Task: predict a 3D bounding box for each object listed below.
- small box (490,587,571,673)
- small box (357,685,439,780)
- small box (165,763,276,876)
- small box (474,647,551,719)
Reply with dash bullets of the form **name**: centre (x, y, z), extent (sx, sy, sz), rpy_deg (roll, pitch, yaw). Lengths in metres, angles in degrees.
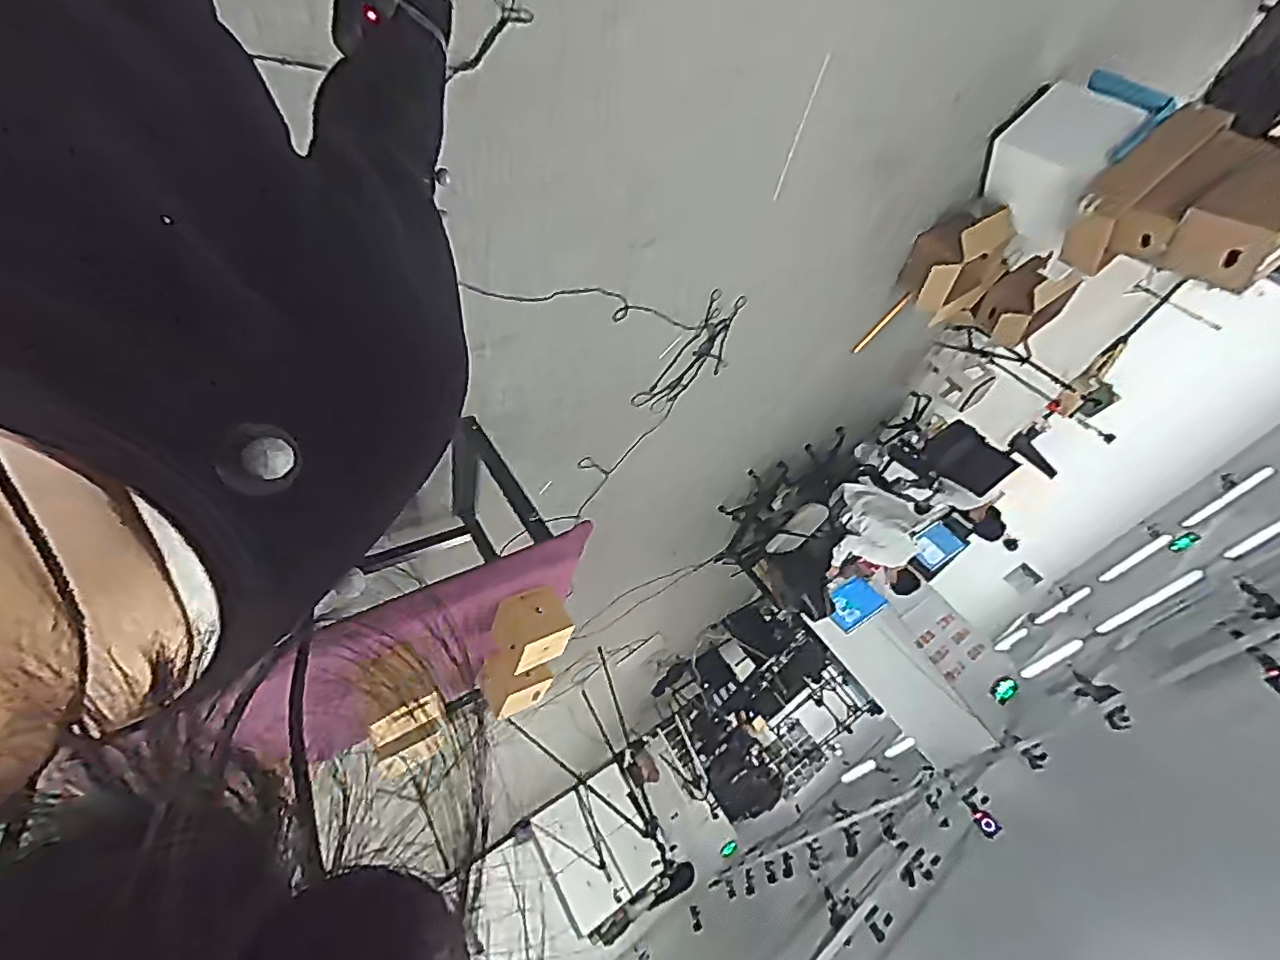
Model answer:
- **small box**: centre (-0.338, 0.447, 1.646), extent (0.168, 0.176, 0.179), rpy_deg (-13, 142, -40)
- **small box**: centre (-0.724, 0.751, 1.624), extent (0.179, 0.176, 0.168), rpy_deg (-20, 144, -34)
- **small box**: centre (-1.060, 0.856, 1.372), extent (0.168, 0.176, 0.179), rpy_deg (-24, 147, -31)
- **small box**: centre (-0.440, 0.673, 1.849), extent (0.179, 0.176, 0.168), rpy_deg (-8, 138, -42)
